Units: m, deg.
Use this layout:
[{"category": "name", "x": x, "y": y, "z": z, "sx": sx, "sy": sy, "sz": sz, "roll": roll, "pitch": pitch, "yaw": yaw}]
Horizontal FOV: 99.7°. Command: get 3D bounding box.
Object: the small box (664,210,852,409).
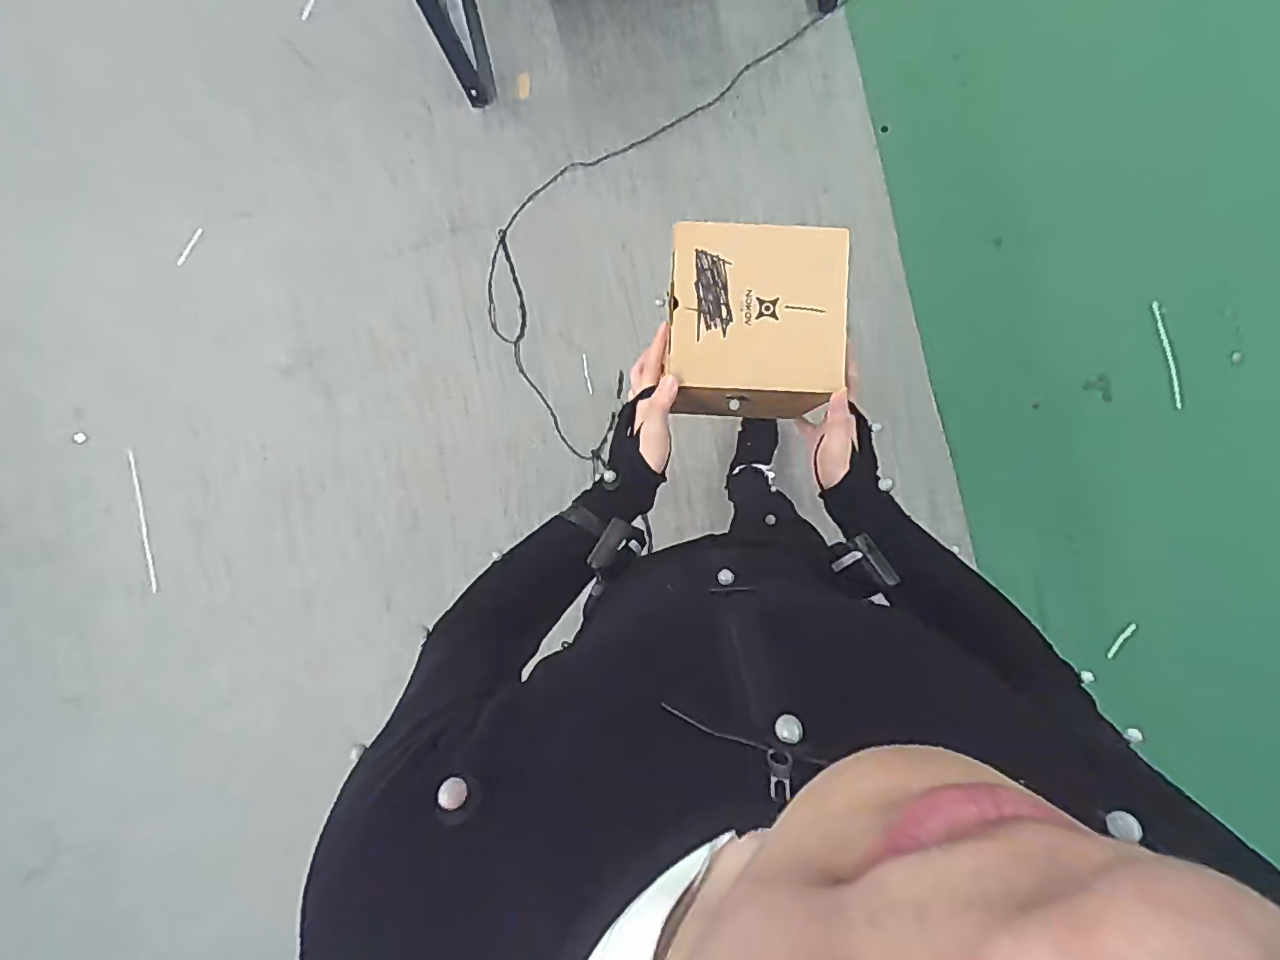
[{"category": "small box", "x": 0.118, "y": -0.176, "z": 0.606, "sx": 0.179, "sy": 0.176, "sz": 0.168, "roll": 2, "pitch": 87, "yaw": 0}]
